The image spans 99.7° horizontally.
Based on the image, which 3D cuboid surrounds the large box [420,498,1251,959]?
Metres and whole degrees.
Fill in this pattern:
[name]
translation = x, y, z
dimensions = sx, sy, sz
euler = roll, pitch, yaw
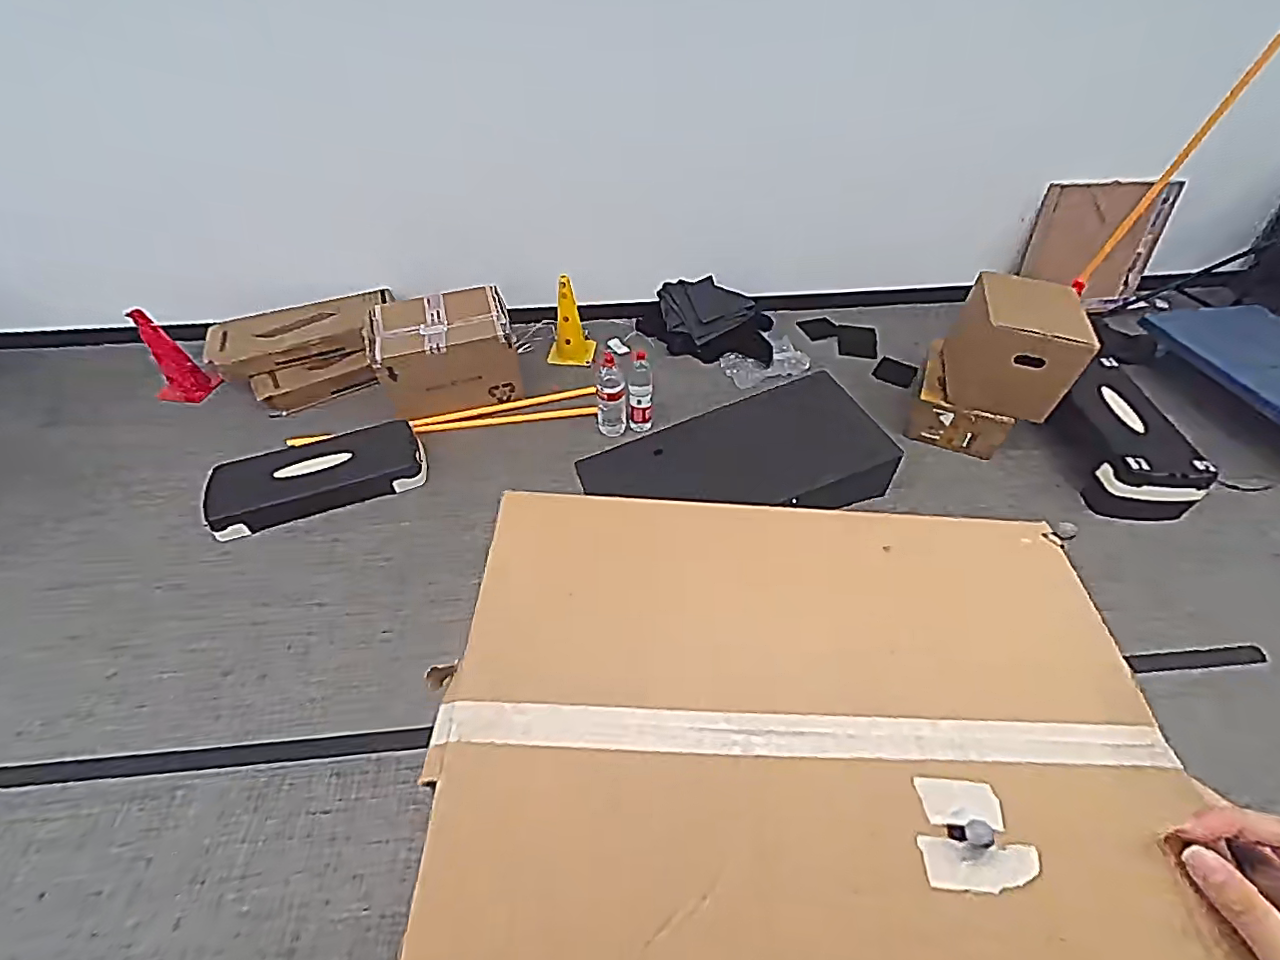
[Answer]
[large box]
translation = 0.086, 0.236, 0.430
dimensions = 0.408, 0.320, 0.320
euler = 4, 52, -3
